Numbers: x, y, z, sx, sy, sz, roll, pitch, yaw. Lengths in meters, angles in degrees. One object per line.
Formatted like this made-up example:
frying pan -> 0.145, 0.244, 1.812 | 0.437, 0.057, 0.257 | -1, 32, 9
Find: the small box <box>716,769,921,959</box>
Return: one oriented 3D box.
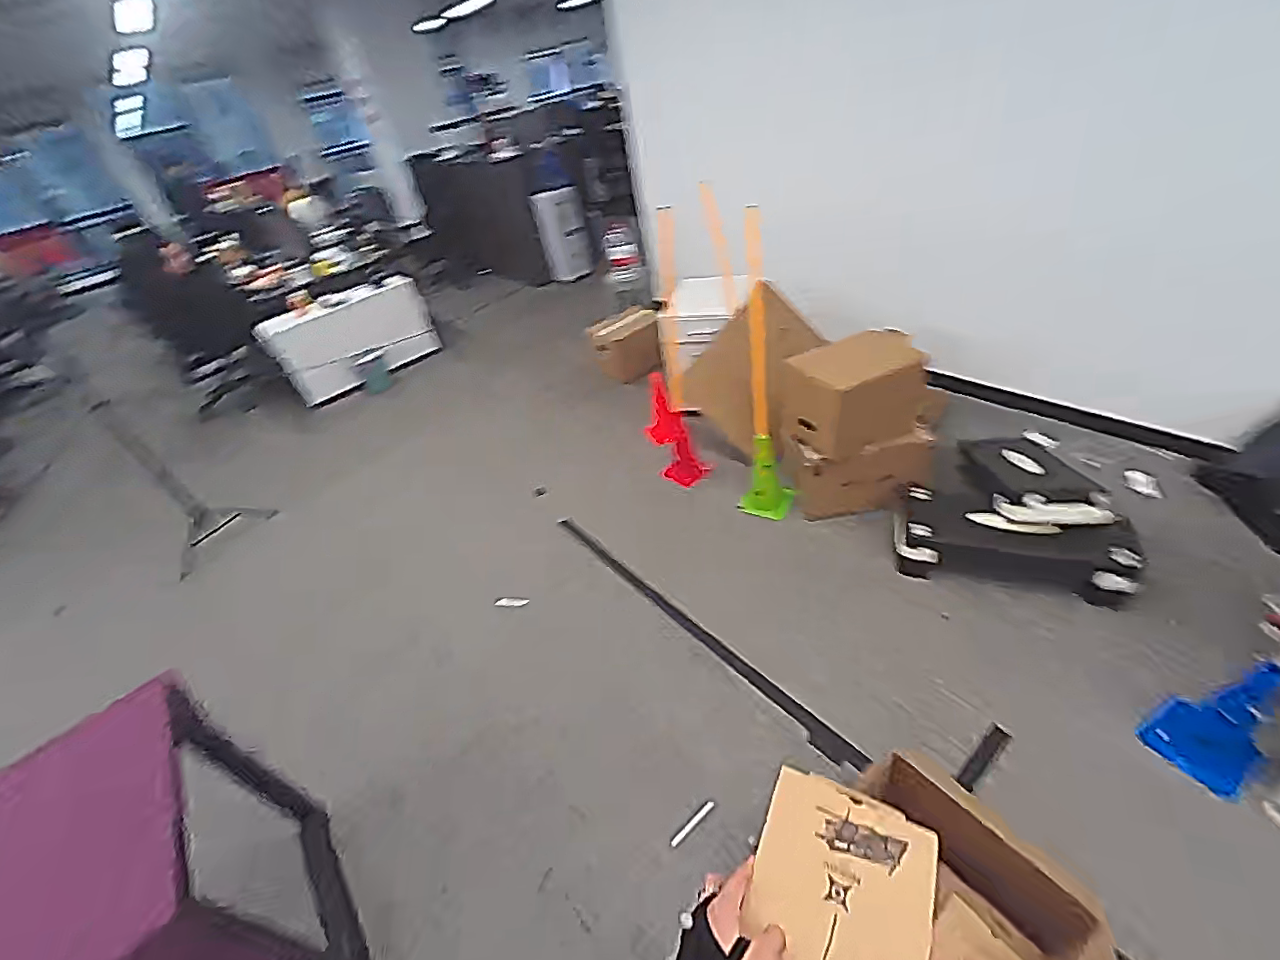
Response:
small box -> 0.187, 0.465, 0.586 | 0.168, 0.176, 0.179 | 15, 41, 21
